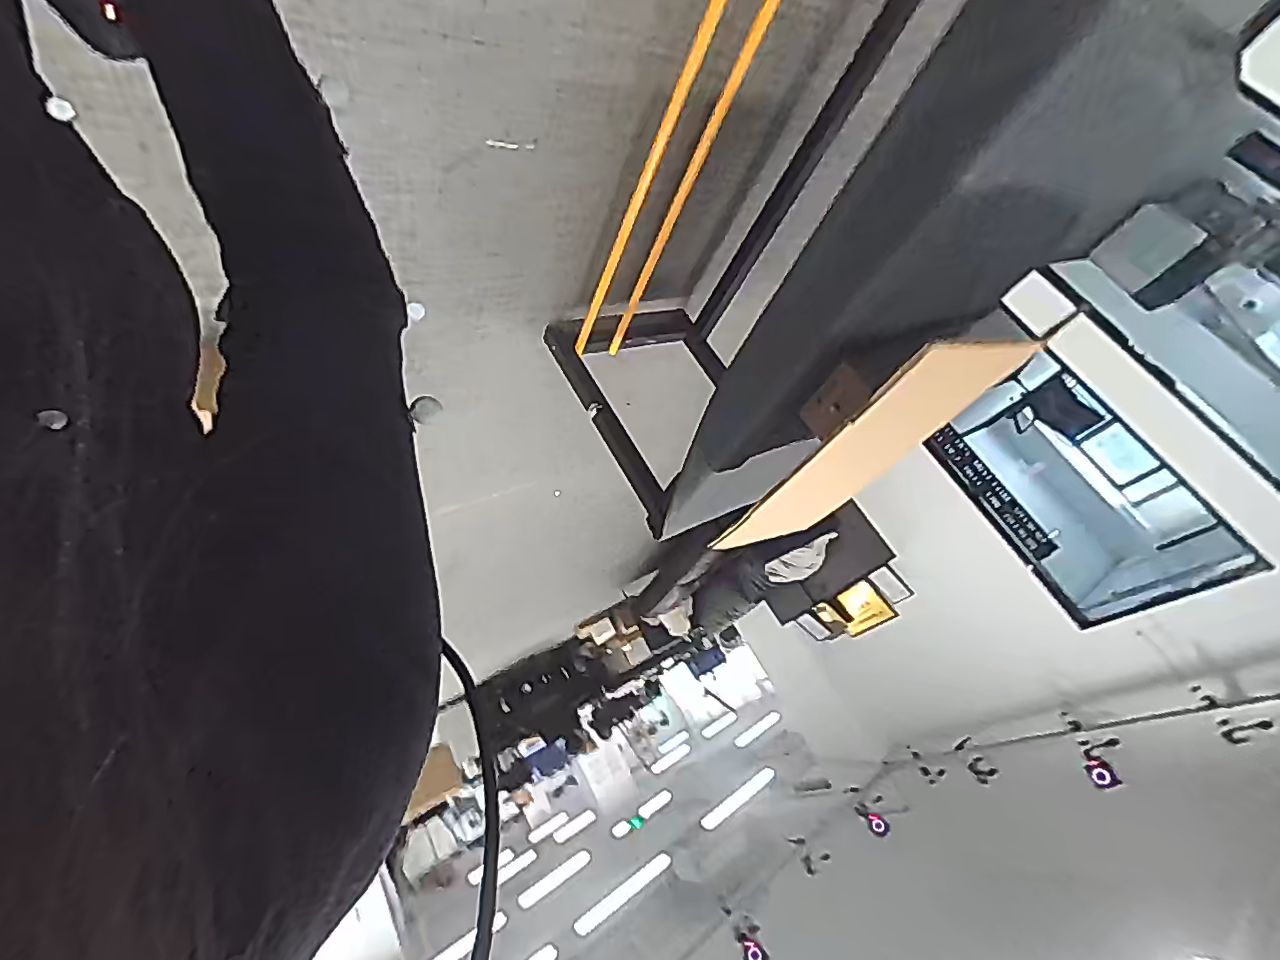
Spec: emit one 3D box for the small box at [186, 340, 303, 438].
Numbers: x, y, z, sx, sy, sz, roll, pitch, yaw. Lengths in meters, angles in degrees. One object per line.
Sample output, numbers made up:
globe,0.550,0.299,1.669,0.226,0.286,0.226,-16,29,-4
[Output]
small box,-0.870,-0.191,1.215,0.179,0.176,0.168,-21,158,-29
